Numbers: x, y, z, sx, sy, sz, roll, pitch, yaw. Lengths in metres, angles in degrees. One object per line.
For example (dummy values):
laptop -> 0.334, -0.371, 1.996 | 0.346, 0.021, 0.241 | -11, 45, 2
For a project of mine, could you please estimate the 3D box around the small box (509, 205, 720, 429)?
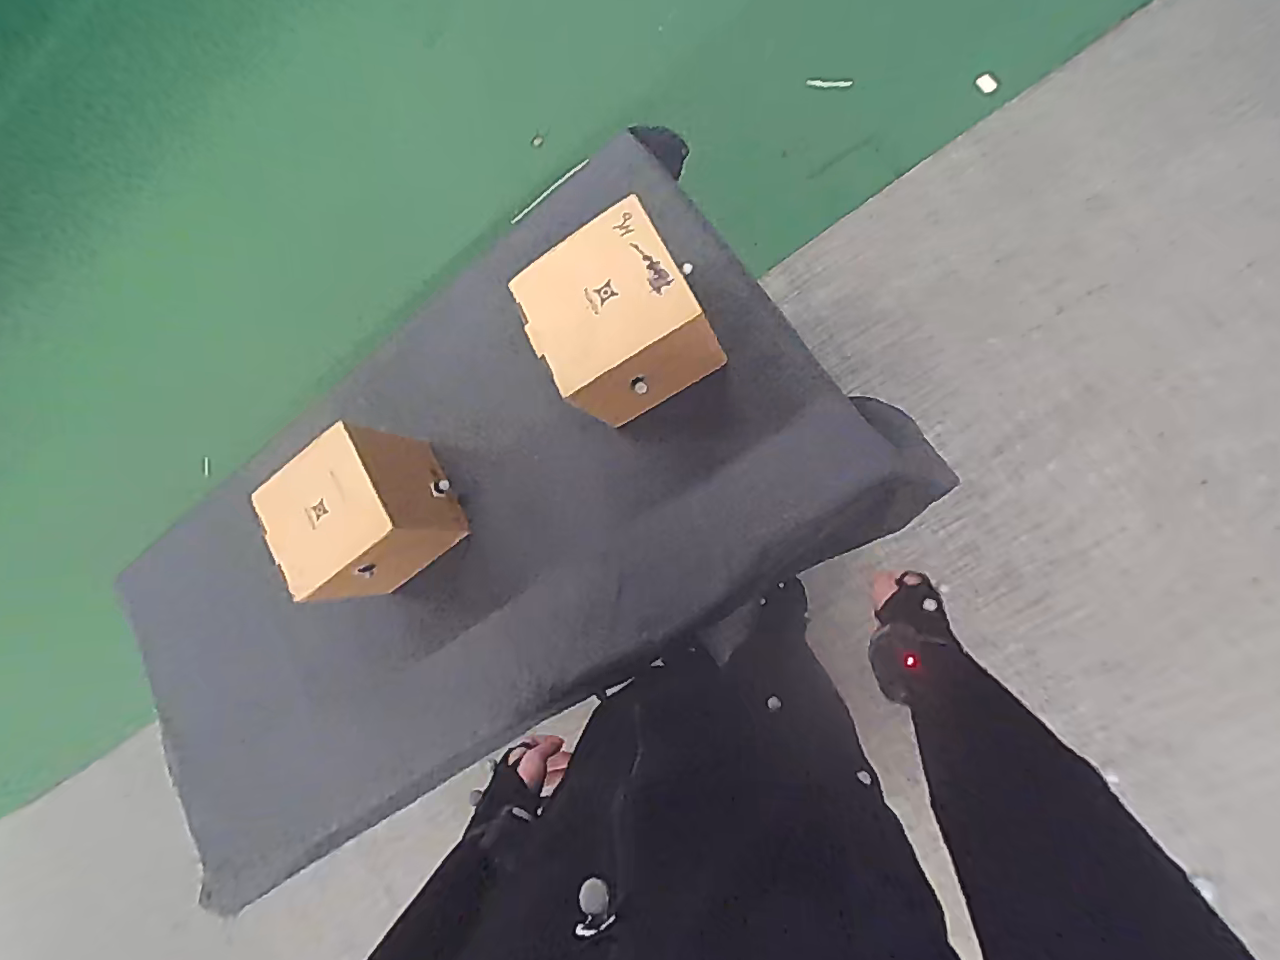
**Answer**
small box -> -0.022, -0.182, 0.664 | 0.179, 0.176, 0.168 | -29, 76, 13

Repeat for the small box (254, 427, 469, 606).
small box -> -0.377, 0.055, 0.754 | 0.179, 0.176, 0.168 | -36, 76, 10
